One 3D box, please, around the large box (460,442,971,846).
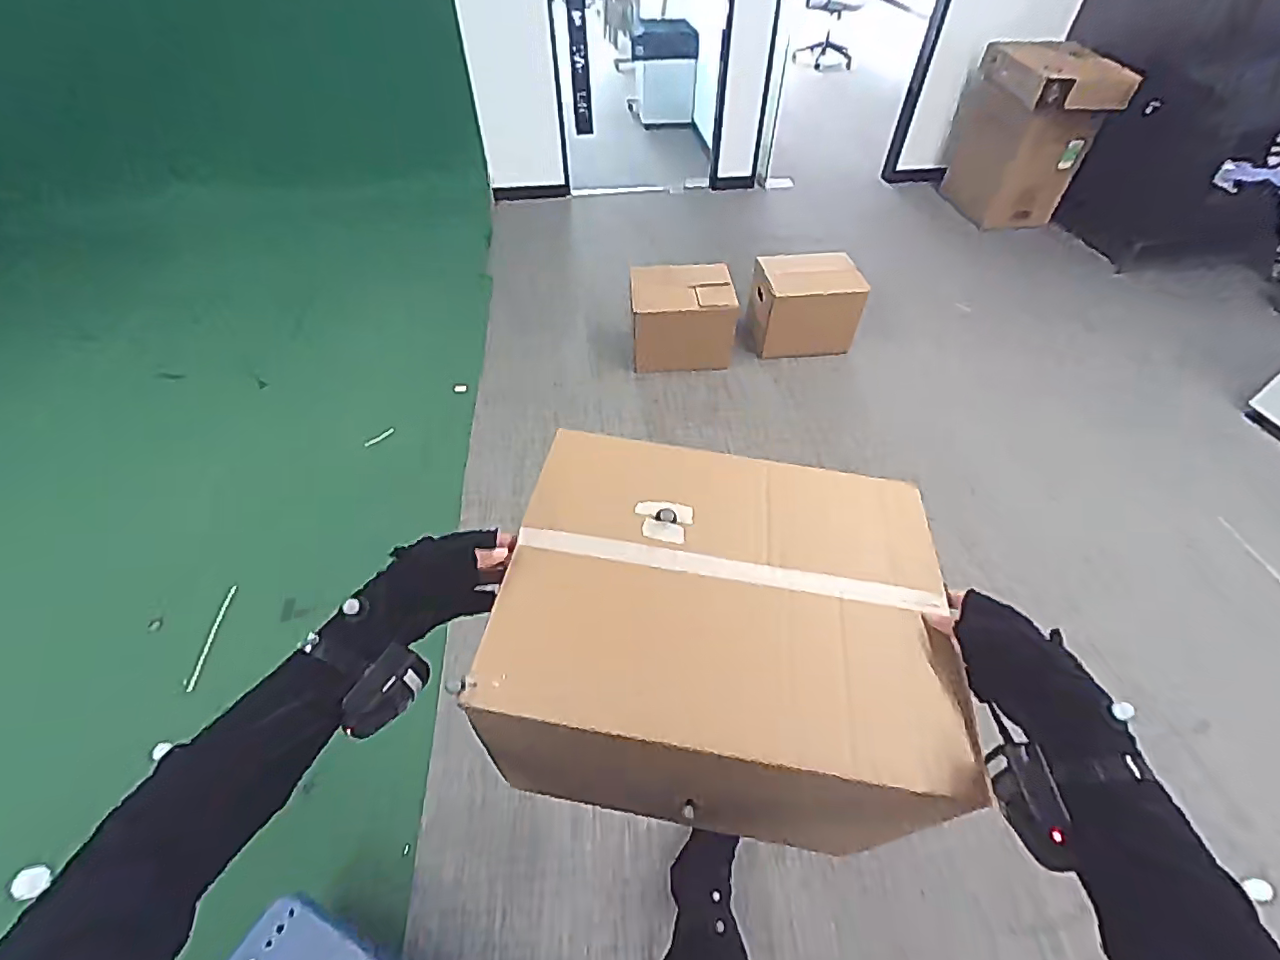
[{"bbox_3d":[0.070,0.192,0.623,0.408,0.320,0.320,9,48,4],"label":"large box"}]
